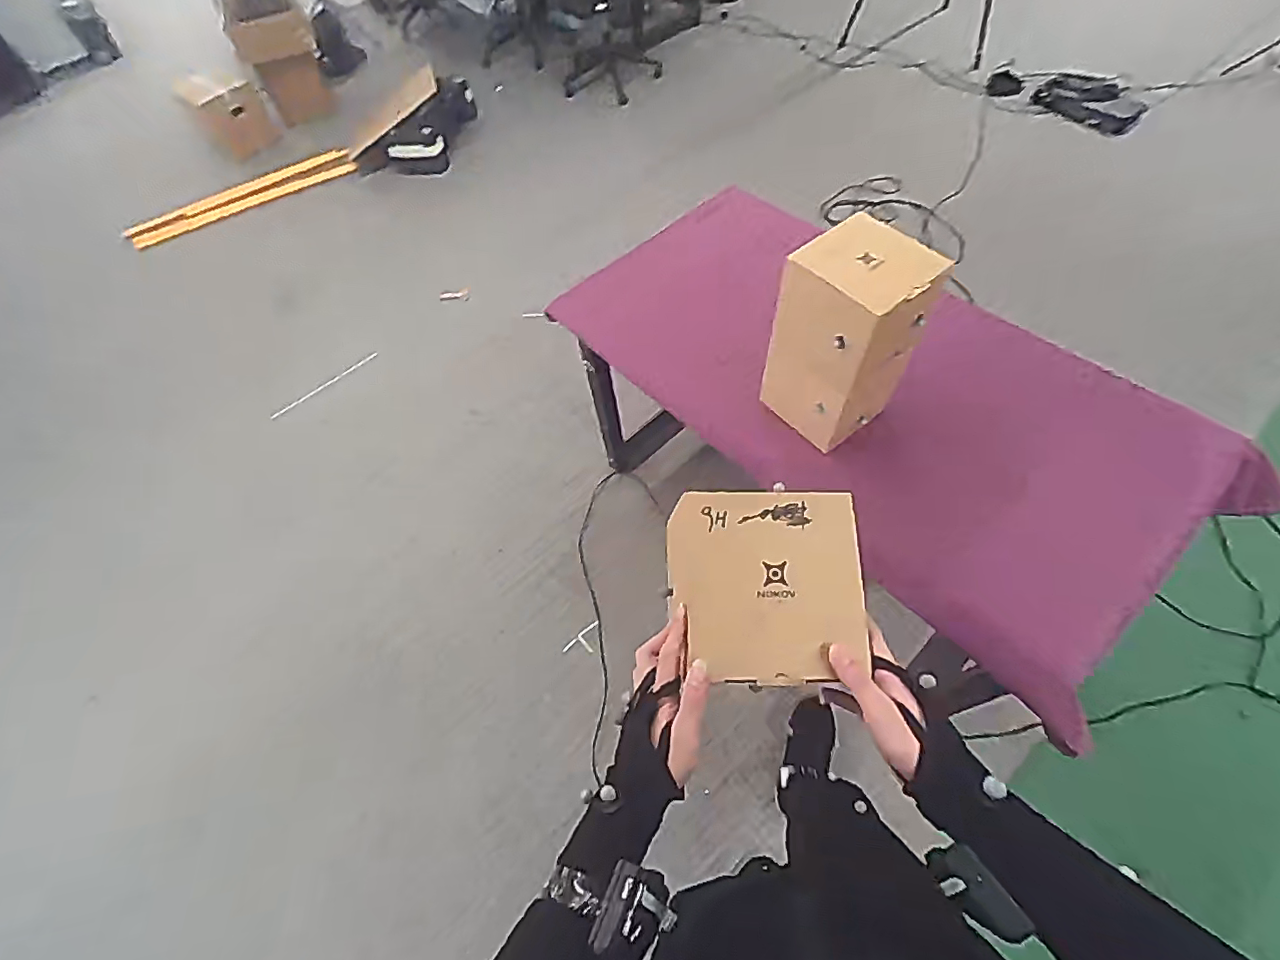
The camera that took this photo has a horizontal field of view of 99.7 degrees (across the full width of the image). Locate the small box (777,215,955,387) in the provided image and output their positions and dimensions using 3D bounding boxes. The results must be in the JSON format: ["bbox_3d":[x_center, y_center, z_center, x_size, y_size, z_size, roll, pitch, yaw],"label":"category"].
[{"bbox_3d":[0.341,-0.272,0.853,0.168,0.176,0.179,-34,62,-15],"label":"small box"}]

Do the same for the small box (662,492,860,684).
[{"bbox_3d":[0.114,0.115,0.578,0.168,0.176,0.179,0,75,-3],"label":"small box"}]
